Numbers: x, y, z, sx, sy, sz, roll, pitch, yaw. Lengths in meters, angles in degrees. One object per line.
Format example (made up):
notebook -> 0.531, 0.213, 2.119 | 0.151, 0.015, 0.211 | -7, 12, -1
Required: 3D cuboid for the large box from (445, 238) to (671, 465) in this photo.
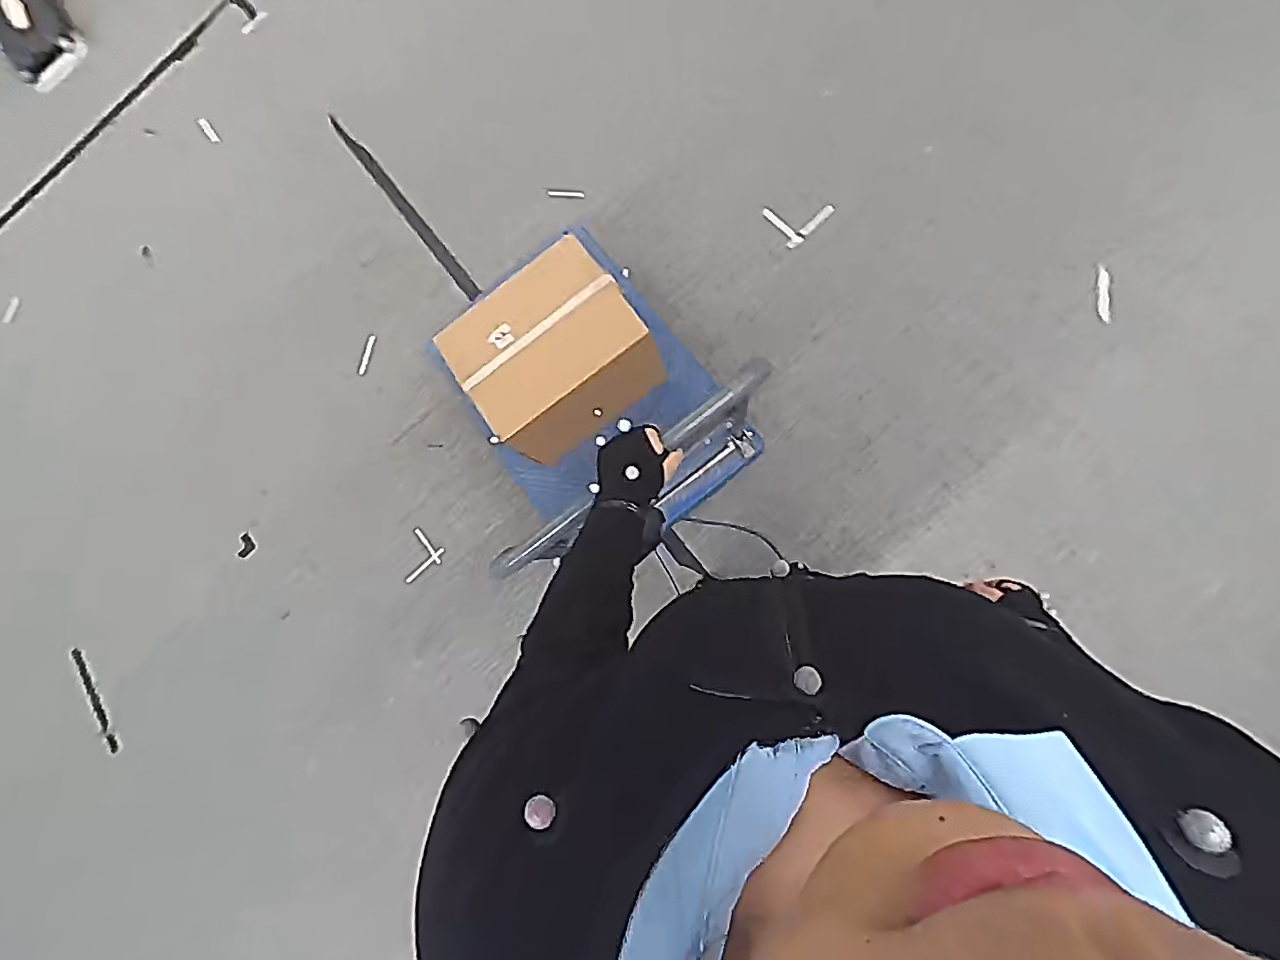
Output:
large box -> -0.184, -0.296, 1.351 | 0.408, 0.320, 0.320 | -37, 75, 4
